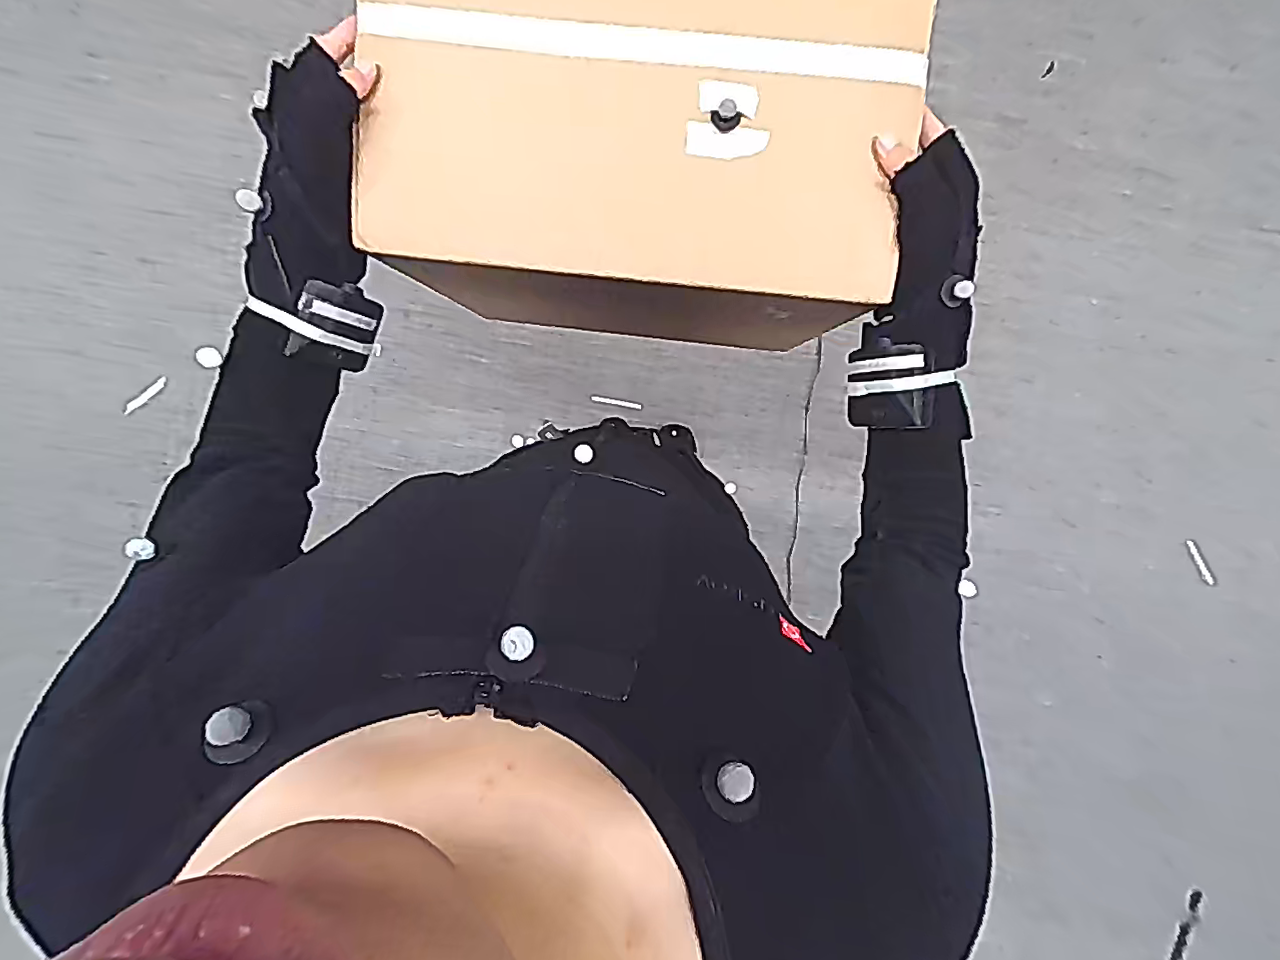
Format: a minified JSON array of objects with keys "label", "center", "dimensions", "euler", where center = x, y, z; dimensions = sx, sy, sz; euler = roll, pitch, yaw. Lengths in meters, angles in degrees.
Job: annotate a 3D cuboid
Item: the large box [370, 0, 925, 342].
[{"label":"large box","center":[0.004,-0.330,0.544],"dimensions":[0.408,0.320,0.320],"euler":[6,97,1]}]
